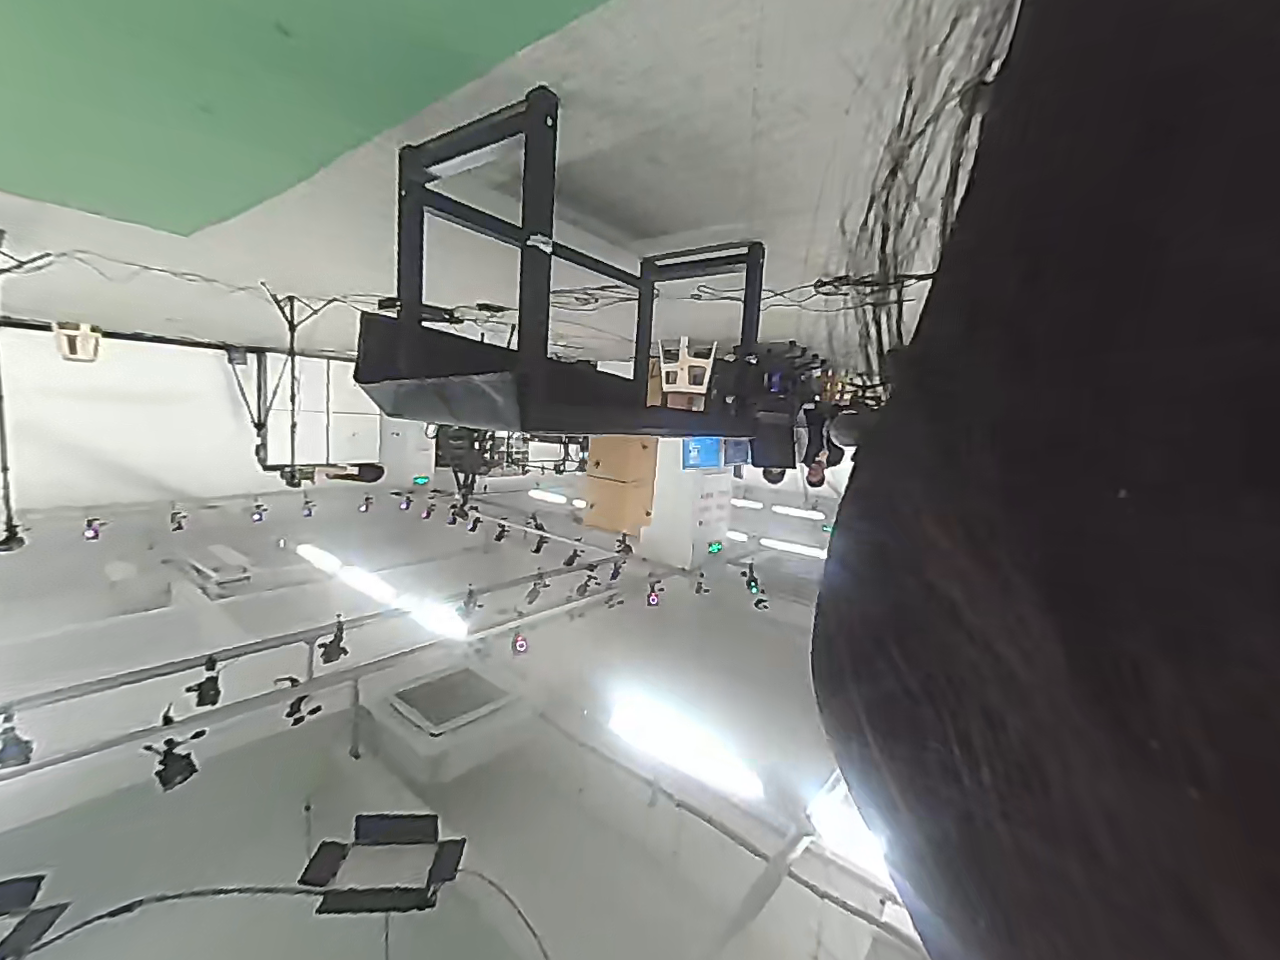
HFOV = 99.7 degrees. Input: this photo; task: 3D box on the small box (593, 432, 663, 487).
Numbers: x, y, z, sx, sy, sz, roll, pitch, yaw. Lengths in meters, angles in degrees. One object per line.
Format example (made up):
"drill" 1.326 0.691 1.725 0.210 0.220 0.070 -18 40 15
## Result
"small box" -0.037 -0.075 1.841 0.179 0.176 0.168 9 -171 38
